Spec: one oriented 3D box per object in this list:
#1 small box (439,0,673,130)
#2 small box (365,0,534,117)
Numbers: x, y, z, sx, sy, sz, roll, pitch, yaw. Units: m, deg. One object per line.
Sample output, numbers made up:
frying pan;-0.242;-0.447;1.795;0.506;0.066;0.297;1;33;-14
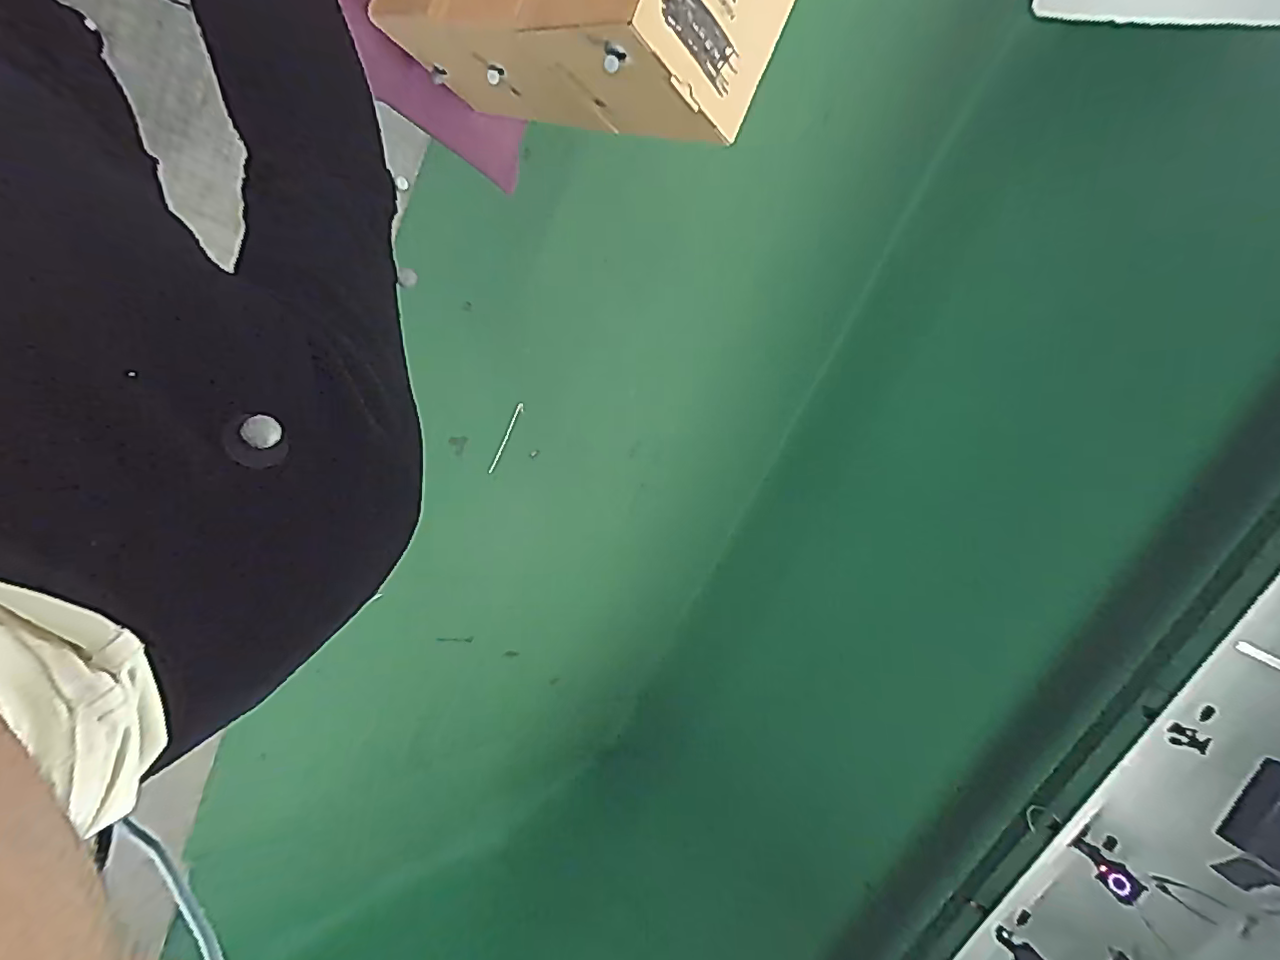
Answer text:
small box;-0.094;-0.538;0.605;0.168;0.176;0.179;14;107;-54
small box;-0.210;-0.612;0.692;0.179;0.176;0.168;13;107;-56
